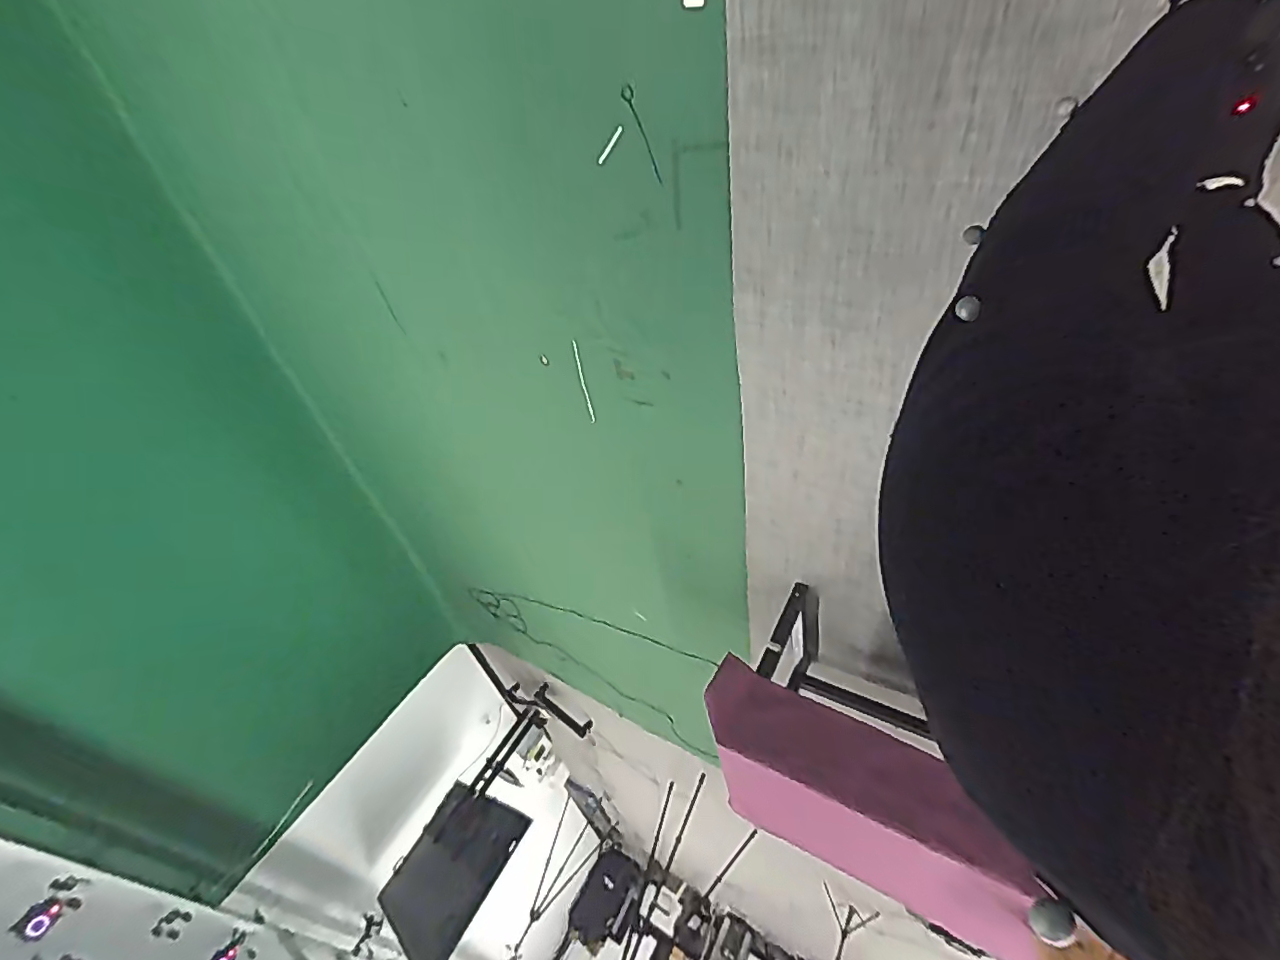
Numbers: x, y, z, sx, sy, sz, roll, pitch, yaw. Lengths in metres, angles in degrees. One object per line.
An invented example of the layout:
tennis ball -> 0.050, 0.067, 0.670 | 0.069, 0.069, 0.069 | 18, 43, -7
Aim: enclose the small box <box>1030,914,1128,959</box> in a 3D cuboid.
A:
small box -> 1.059, 1.201, 1.310 | 0.168, 0.176, 0.179 | 13, 137, 32
